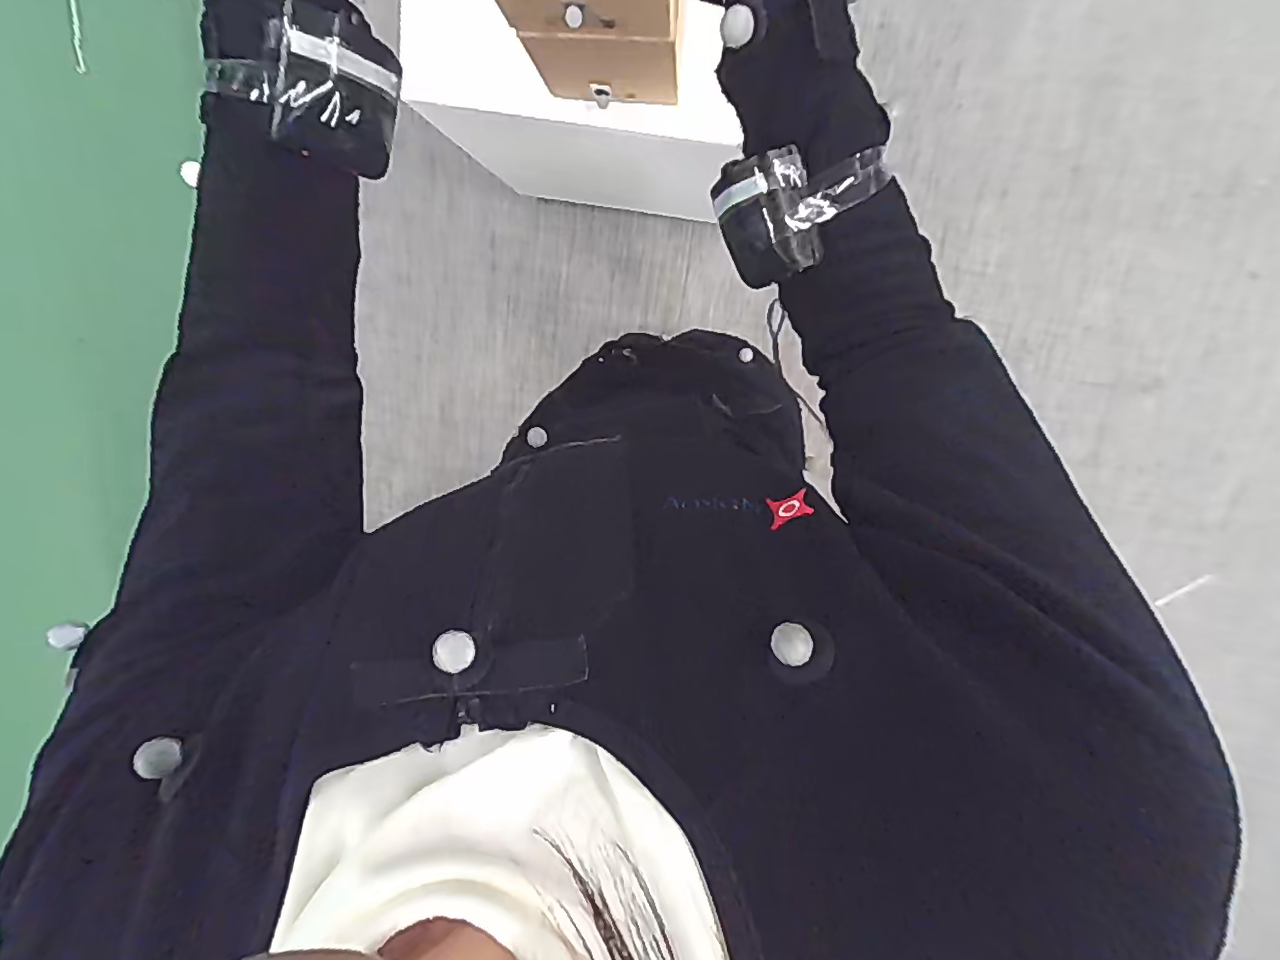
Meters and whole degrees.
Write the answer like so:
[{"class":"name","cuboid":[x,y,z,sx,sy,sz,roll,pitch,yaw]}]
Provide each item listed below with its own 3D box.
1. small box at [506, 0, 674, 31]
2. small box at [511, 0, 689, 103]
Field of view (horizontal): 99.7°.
[{"class":"small box","cuboid":[-0.053,-0.506,0.429,0.168,0.176,0.179,3,105,5]},{"class":"small box","cuboid":[-0.034,-0.546,0.588,0.168,0.176,0.179,5,108,5]}]
